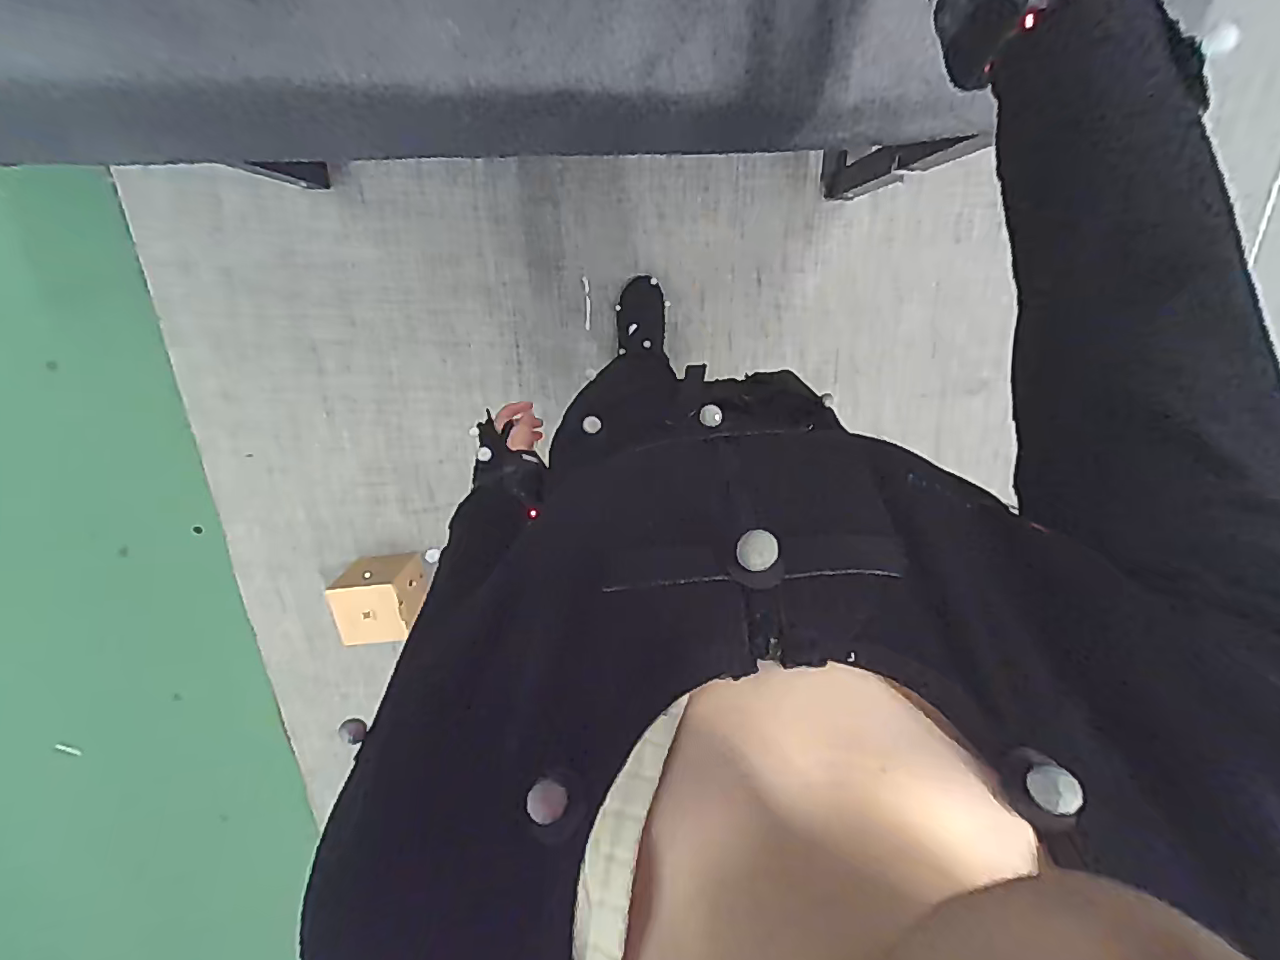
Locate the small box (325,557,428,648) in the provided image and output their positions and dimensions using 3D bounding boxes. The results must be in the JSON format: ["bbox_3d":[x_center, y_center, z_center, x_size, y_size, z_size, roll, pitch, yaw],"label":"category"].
[{"bbox_3d":[-0.675,0.314,1.414,0.179,0.176,0.168,-6,108,3],"label":"small box"}]
